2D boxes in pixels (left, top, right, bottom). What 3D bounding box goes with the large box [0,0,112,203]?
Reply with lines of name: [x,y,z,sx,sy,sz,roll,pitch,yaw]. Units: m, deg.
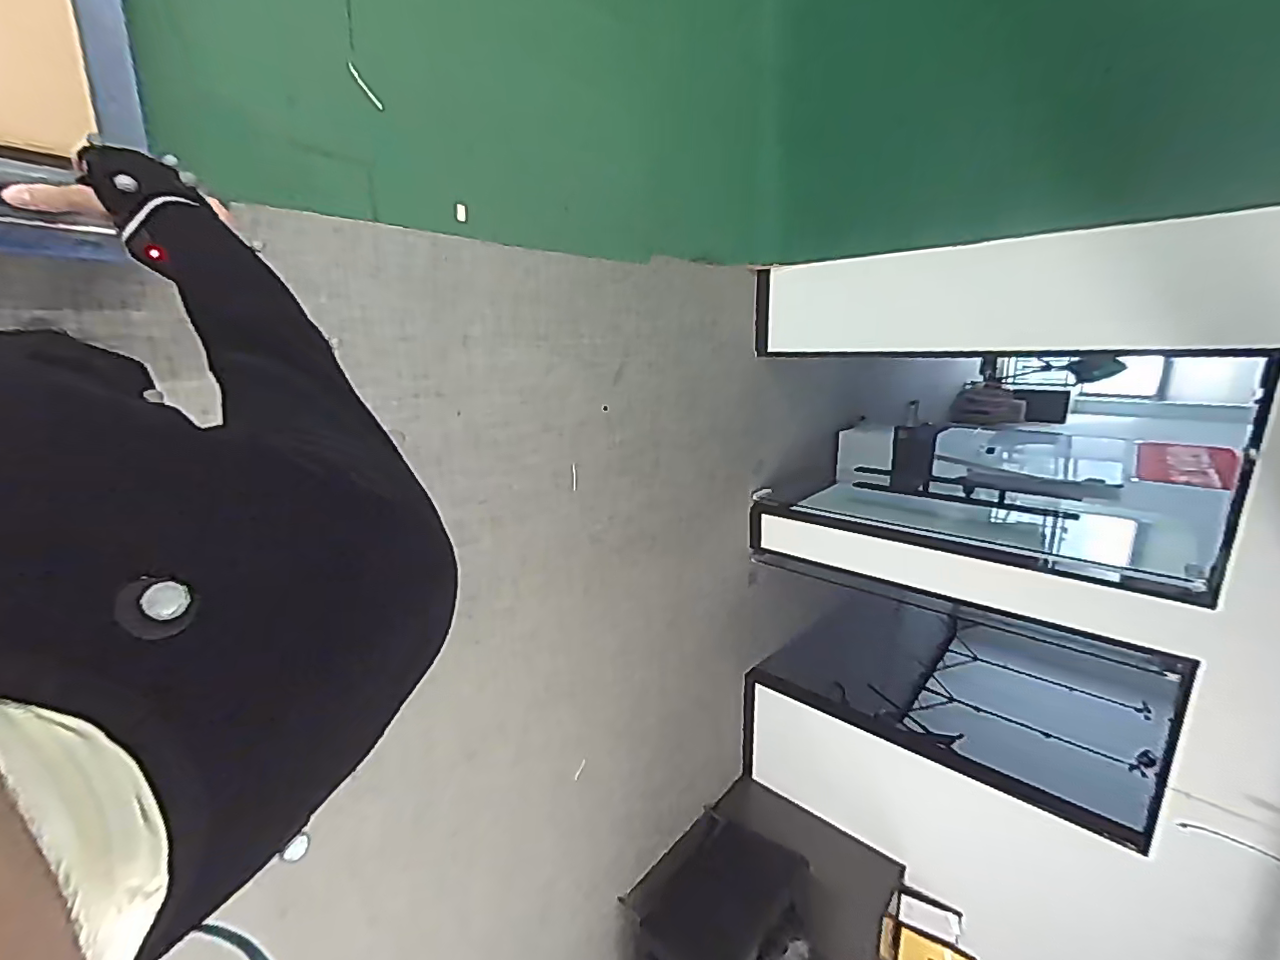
large box: [-1.002,-0.651,0.749,0.320,0.320,0.408,-15,109,-47]
